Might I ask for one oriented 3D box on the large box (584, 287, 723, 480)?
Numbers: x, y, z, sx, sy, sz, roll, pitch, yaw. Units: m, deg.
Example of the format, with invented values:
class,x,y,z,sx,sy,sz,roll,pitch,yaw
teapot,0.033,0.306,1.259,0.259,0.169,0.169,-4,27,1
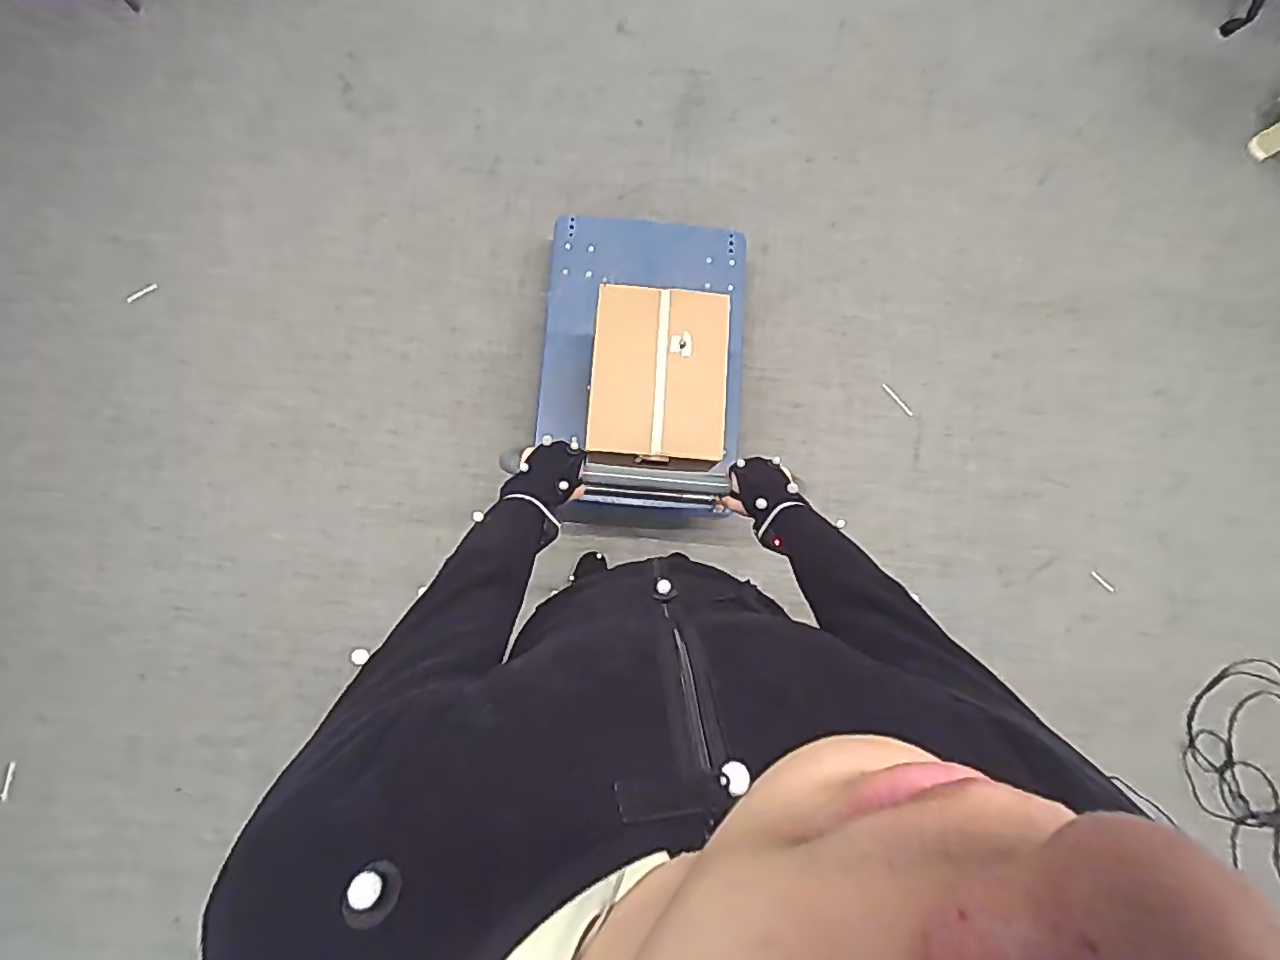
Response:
class,x,y,z,sx,sy,sz,roll,pitch,yaw
large box,0.028,-0.224,1.389,0.320,0.320,0.408,4,80,-4
